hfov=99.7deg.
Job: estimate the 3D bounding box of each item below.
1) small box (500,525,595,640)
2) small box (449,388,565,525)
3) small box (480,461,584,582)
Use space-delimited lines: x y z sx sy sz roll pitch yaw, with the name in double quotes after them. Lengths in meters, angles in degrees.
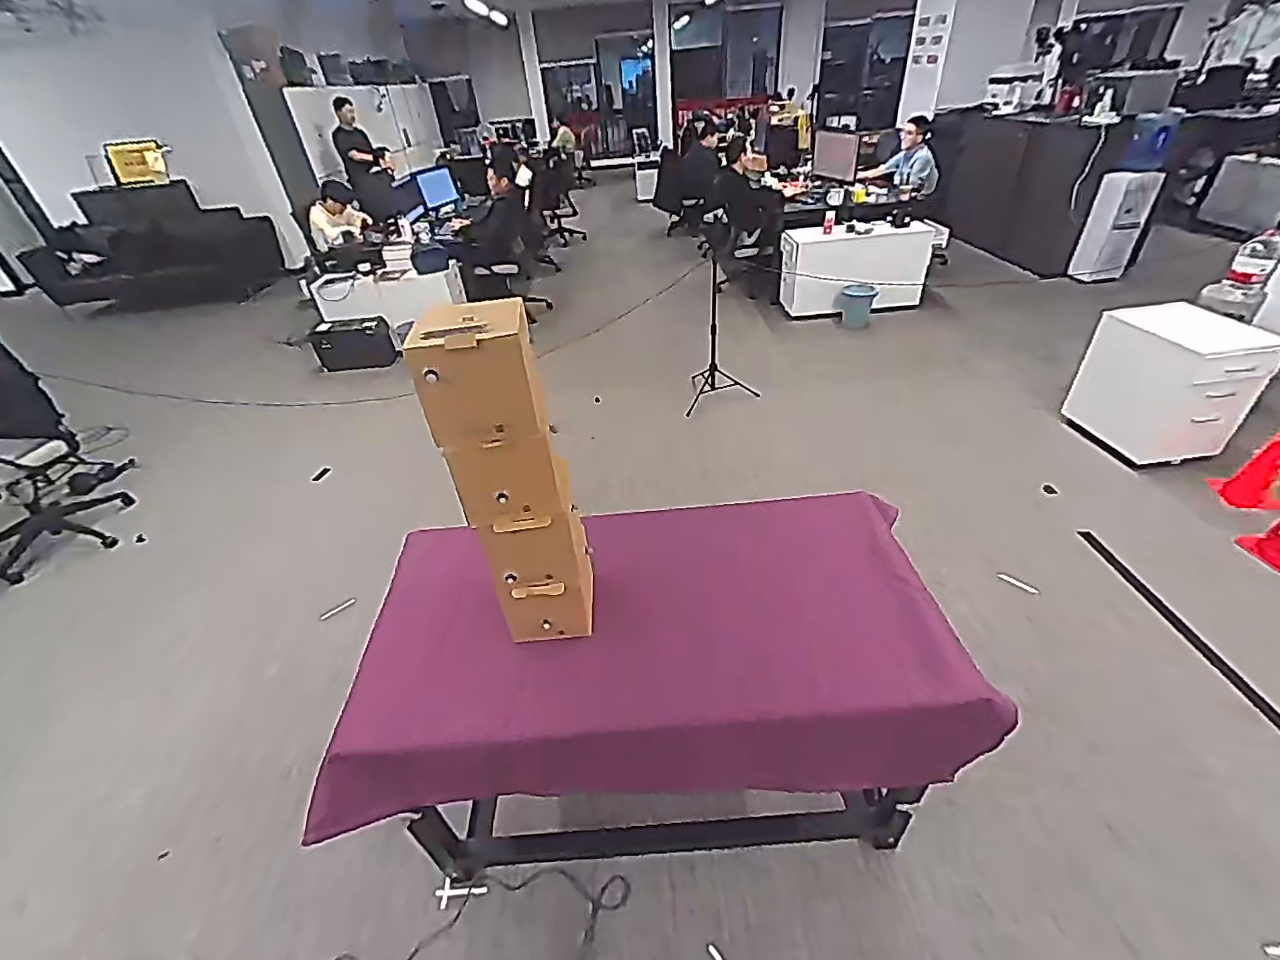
-0.189 0.219 1.163 0.168 0.176 0.179 -5 37 1 "small box"
-0.231 -0.044 0.972 0.168 0.176 0.179 -10 37 -6 "small box"
-0.203 0.087 1.066 0.168 0.176 0.179 -7 36 -2 "small box"
